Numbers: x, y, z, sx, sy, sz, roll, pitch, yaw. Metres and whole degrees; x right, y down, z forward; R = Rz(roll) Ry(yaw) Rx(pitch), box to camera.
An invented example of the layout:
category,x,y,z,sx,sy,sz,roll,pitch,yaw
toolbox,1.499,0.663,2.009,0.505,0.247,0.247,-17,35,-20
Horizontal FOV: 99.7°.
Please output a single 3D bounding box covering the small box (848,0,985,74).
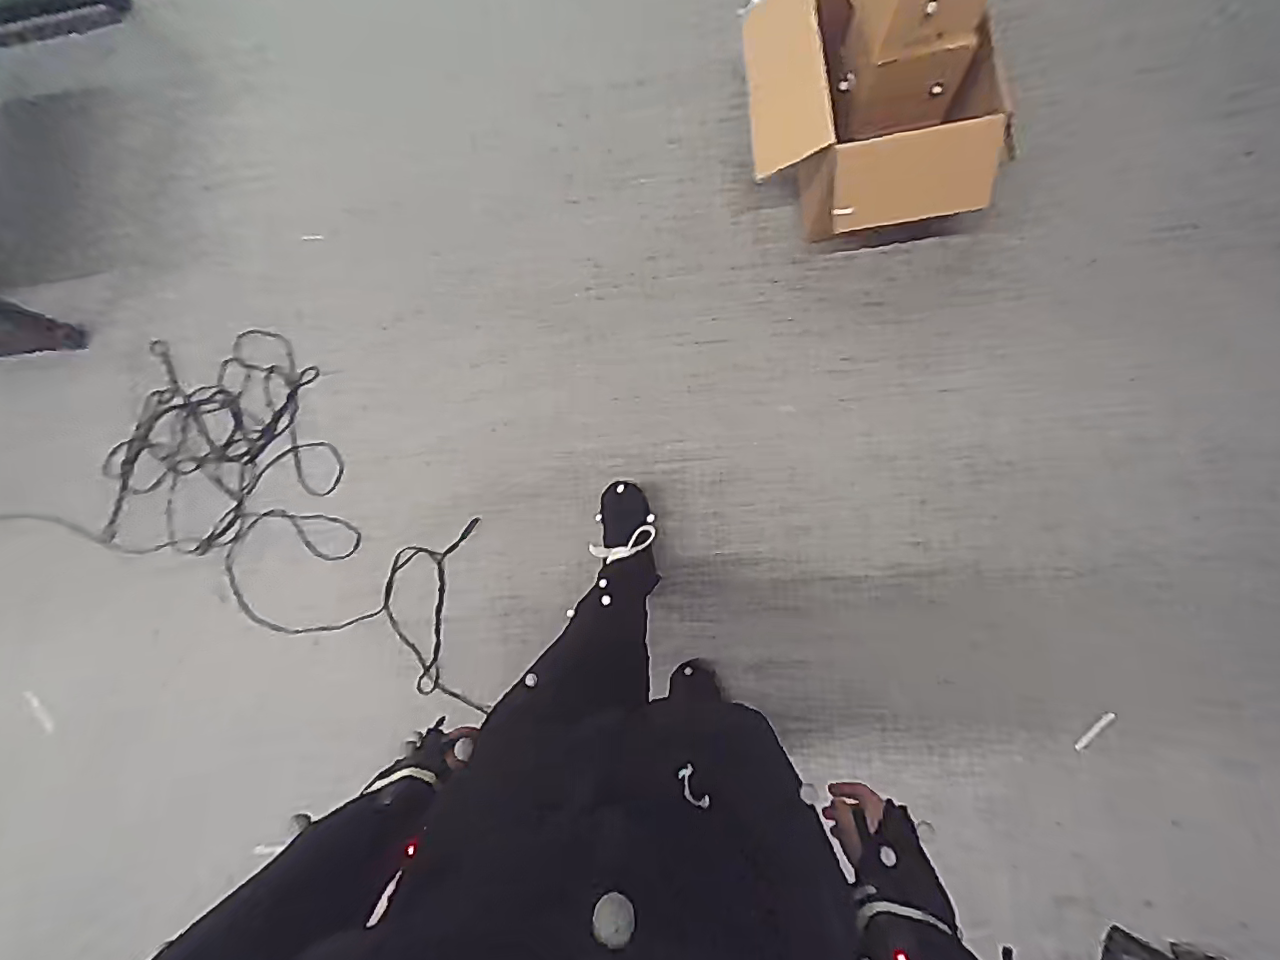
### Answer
category,x,y,z,sx,sy,sz,roll,pitch,yaw
small box,0.469,-0.830,0.909,0.168,0.176,0.179,-12,77,5
